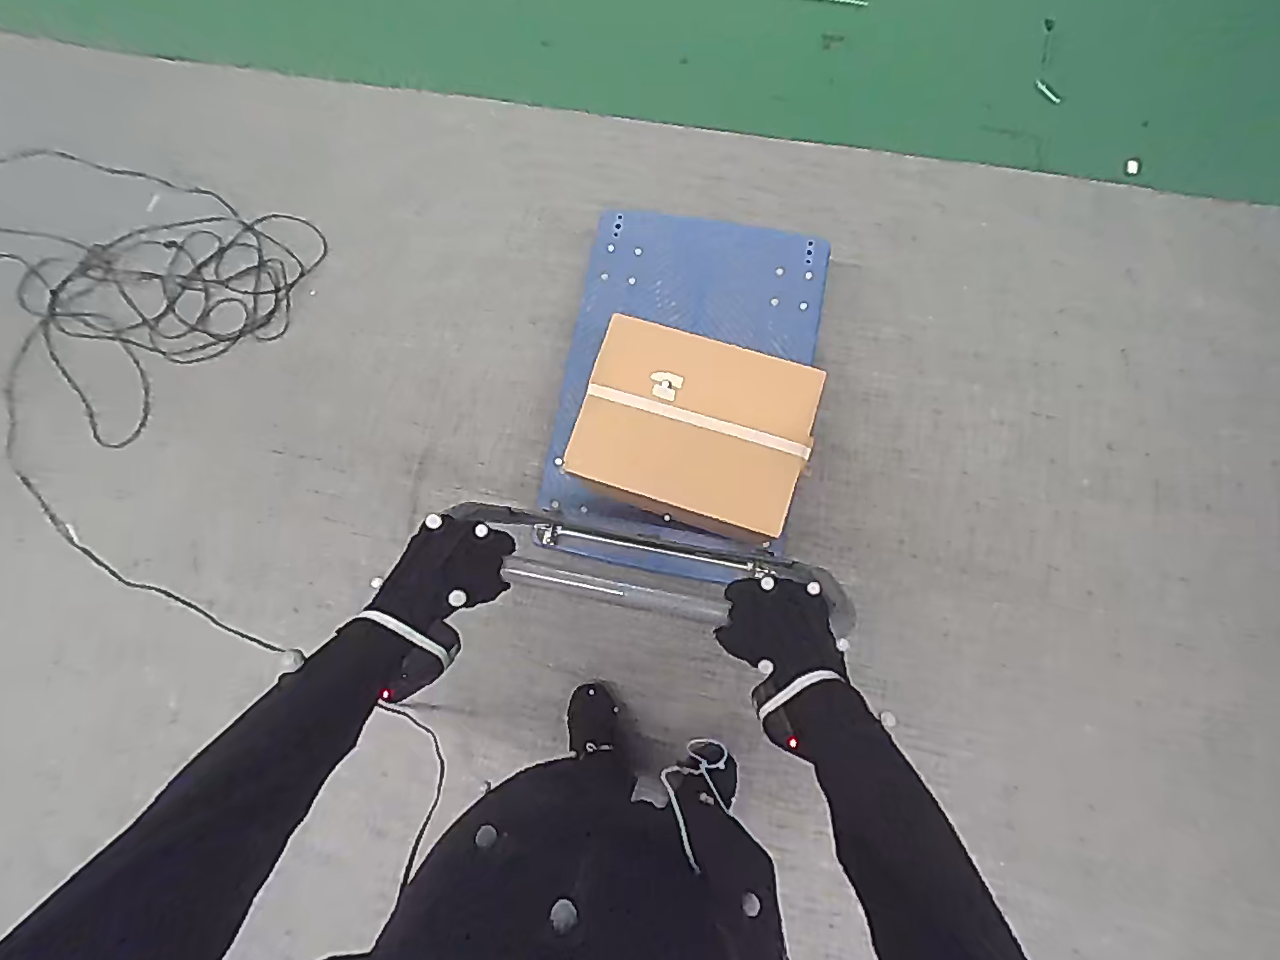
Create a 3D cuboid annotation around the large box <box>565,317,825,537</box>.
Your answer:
[{"bbox_3d":[0.112,-0.086,1.106,0.408,0.320,0.320,17,83,8],"label":"large box"}]
